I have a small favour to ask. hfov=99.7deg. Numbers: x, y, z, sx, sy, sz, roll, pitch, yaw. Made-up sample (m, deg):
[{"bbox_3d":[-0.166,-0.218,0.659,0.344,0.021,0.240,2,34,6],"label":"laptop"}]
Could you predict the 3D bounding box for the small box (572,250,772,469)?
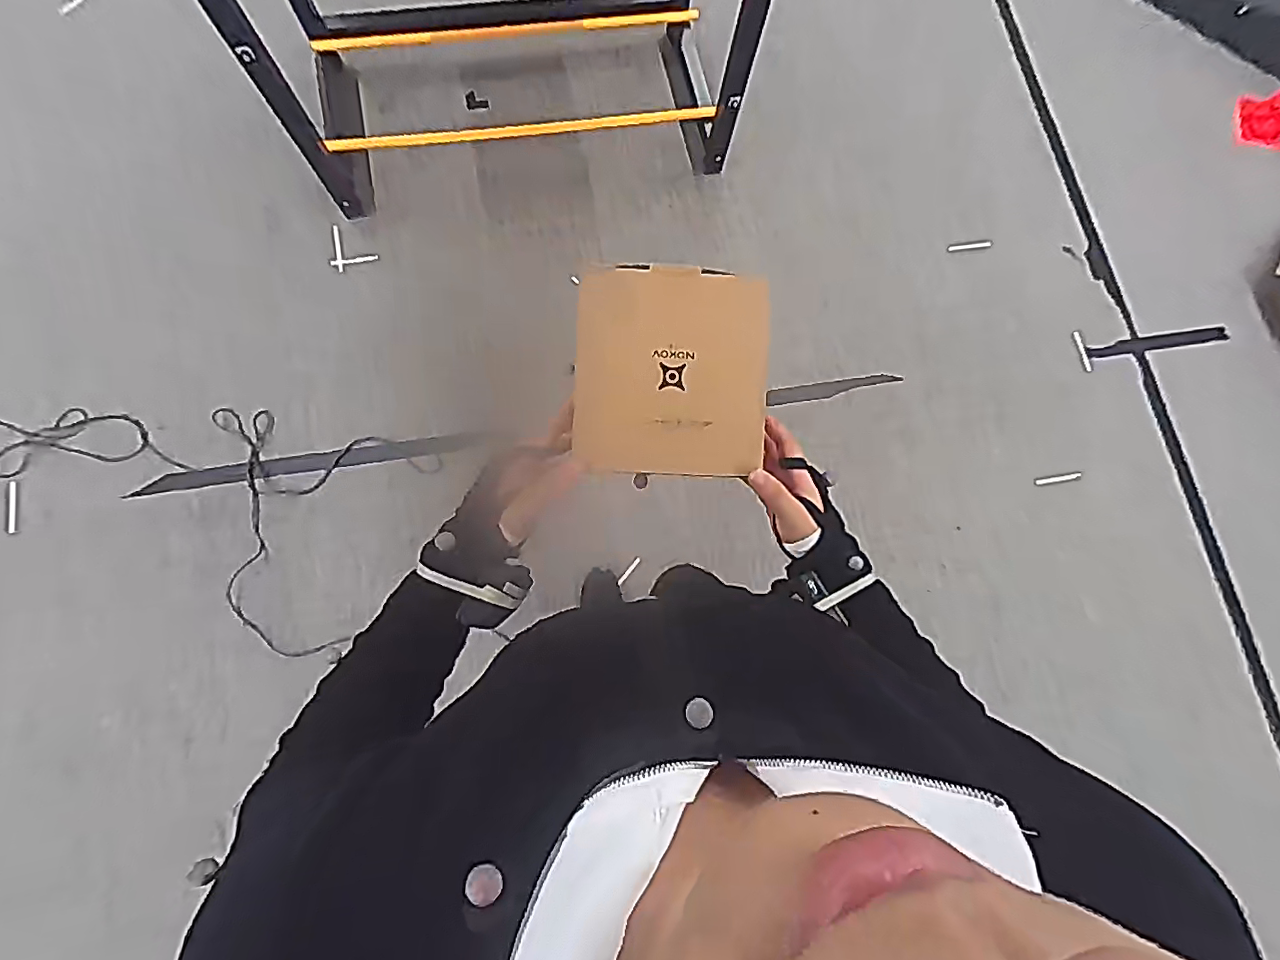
[{"bbox_3d":[0.021,-0.102,0.535,0.168,0.176,0.179,3,92,-4],"label":"small box"}]
